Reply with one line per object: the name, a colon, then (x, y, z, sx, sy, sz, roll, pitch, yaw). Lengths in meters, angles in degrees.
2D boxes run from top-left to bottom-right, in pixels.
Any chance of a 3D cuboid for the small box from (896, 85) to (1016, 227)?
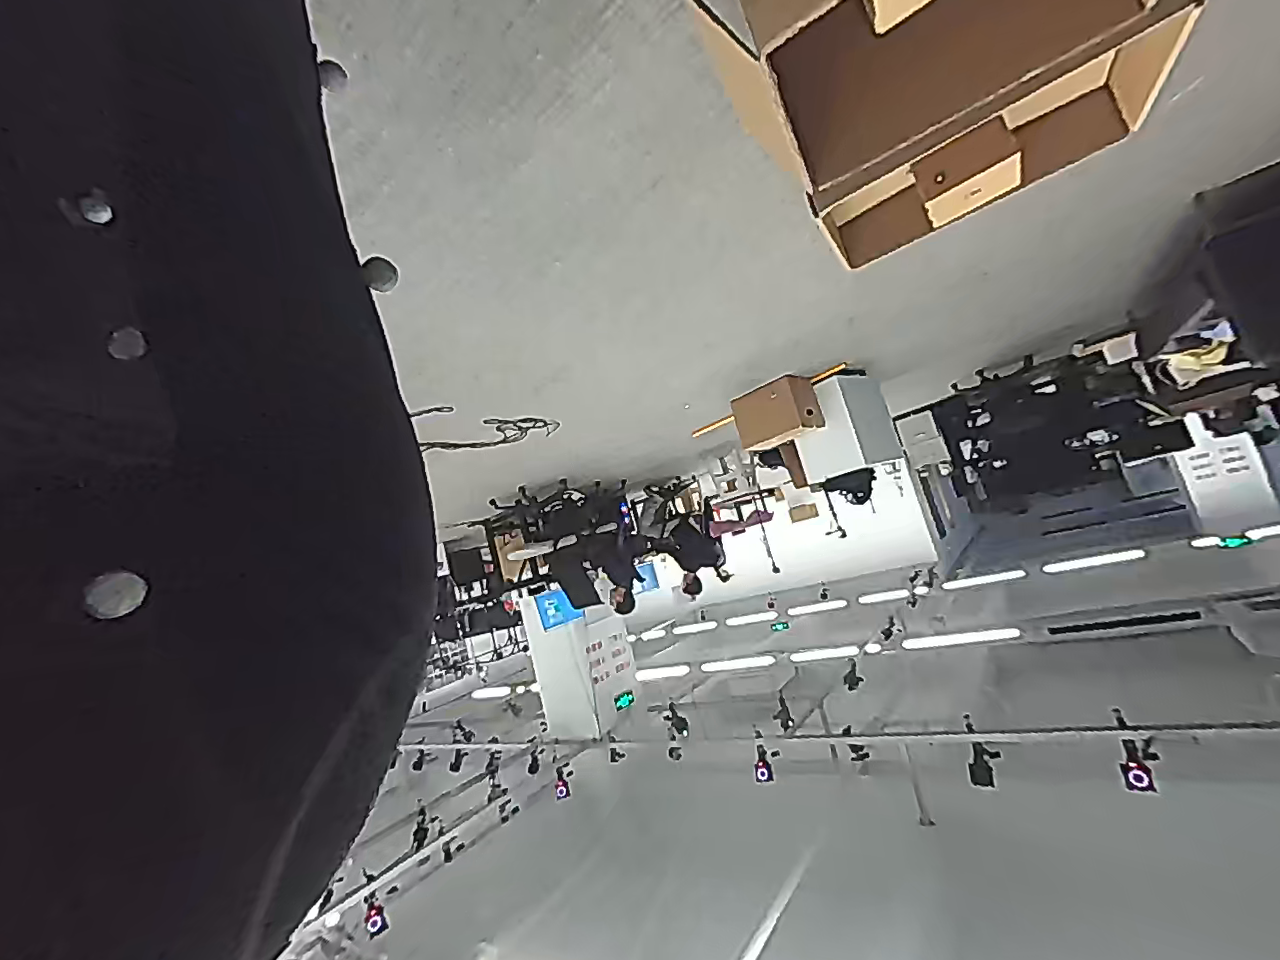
small box: (0.681, -0.692, 1.168, 0.179, 0.176, 0.168, -21, 171, 34)
